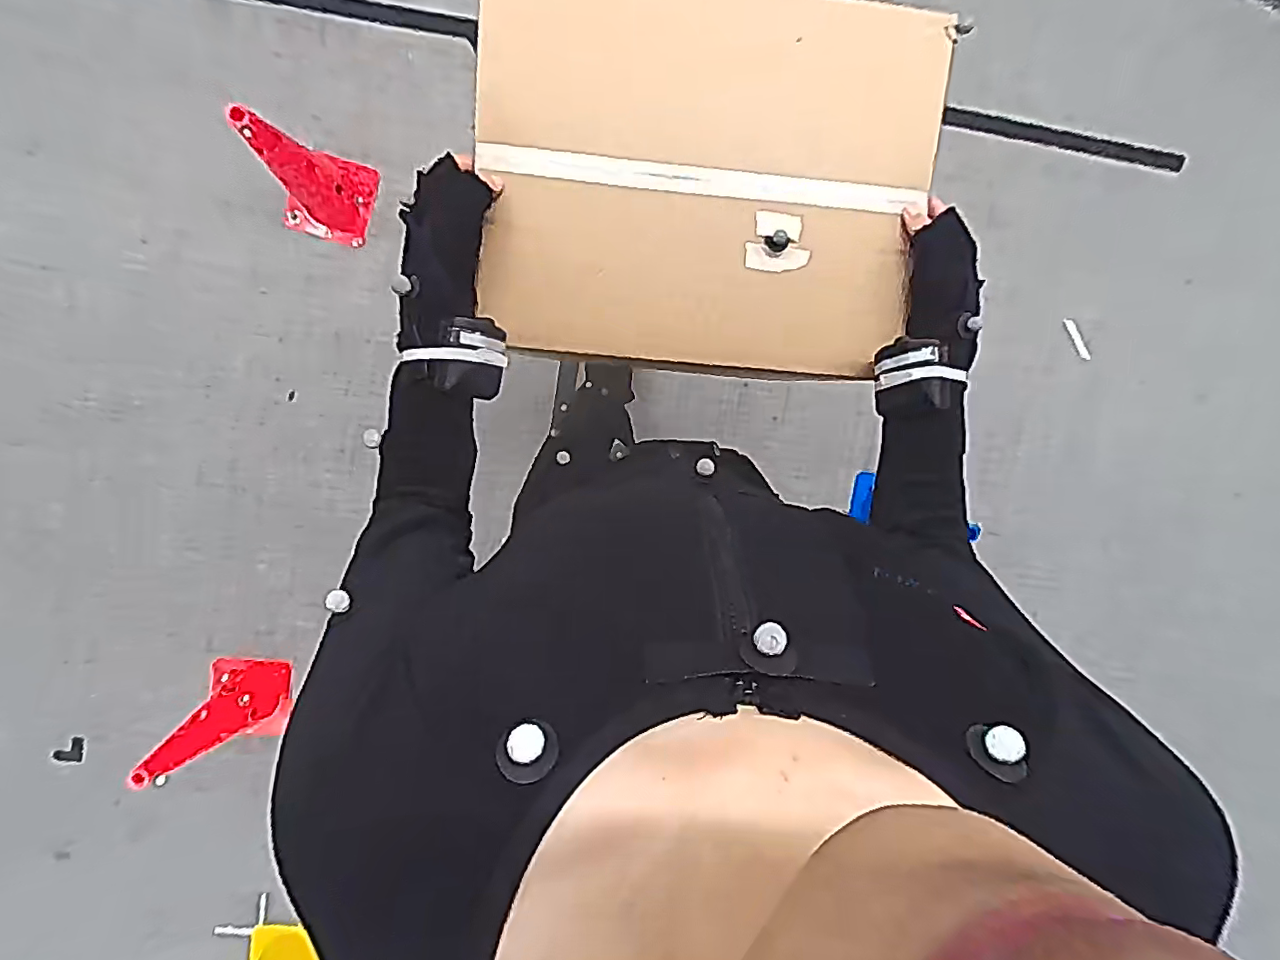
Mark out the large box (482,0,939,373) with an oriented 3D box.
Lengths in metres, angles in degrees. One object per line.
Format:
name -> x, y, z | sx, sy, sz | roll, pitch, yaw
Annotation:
large box -> 0.048, -0.298, 0.634 | 0.408, 0.320, 0.320 | 4, 100, -5

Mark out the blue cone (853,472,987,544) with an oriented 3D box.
blue cone -> 0.714, 0.093, 1.360 | 0.192, 0.380, 0.193 | 11, 94, -6

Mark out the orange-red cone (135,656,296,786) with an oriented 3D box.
orange-red cone -> -1.004, 0.583, 1.259 | 0.198, 0.360, 0.199 | 5, 95, -4

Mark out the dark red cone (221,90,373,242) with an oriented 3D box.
dark red cone -> -0.749, -0.687, 1.154 | 0.201, 0.394, 0.202 | 14, 94, -6
